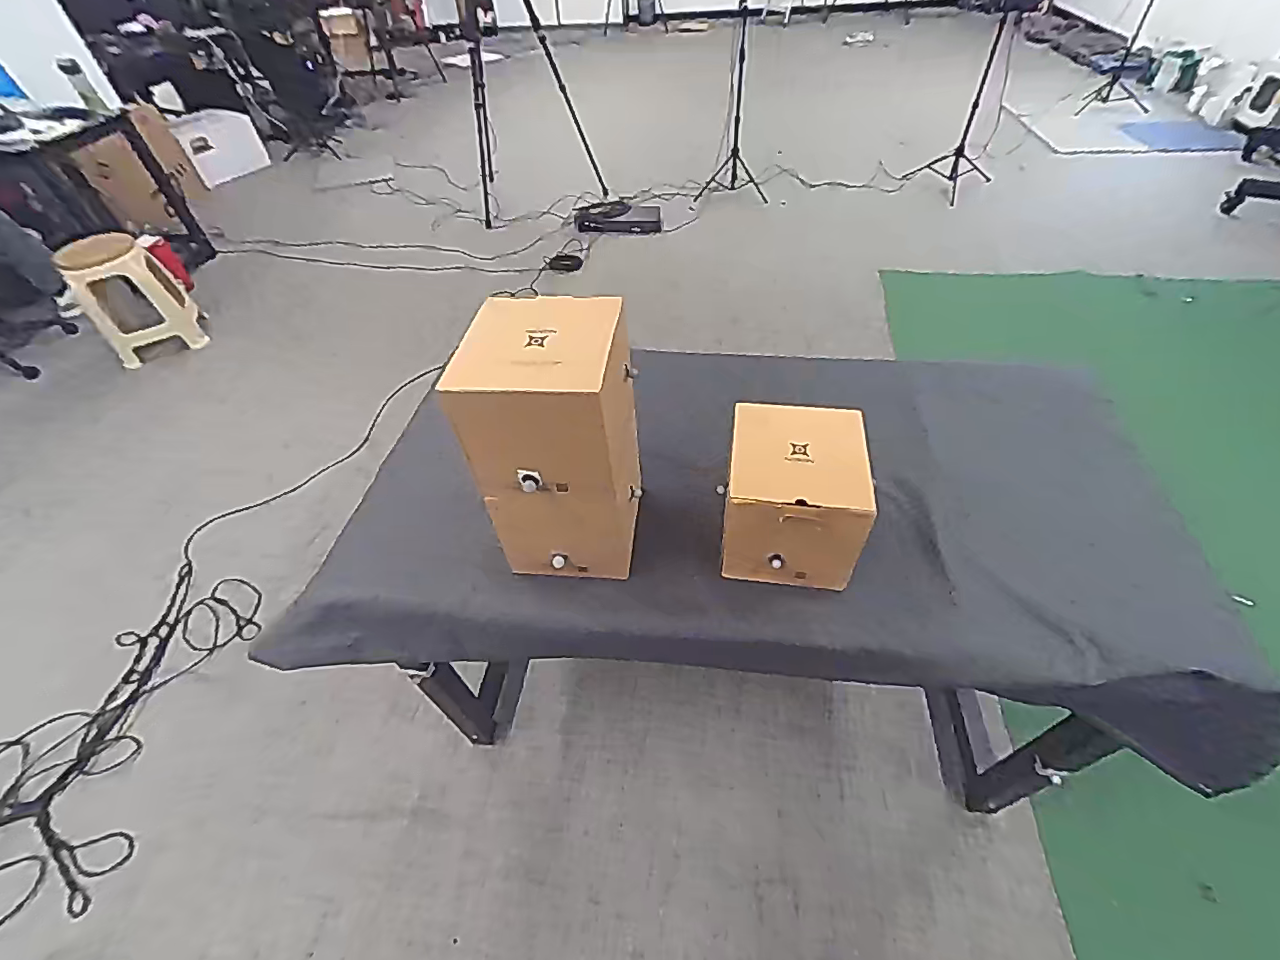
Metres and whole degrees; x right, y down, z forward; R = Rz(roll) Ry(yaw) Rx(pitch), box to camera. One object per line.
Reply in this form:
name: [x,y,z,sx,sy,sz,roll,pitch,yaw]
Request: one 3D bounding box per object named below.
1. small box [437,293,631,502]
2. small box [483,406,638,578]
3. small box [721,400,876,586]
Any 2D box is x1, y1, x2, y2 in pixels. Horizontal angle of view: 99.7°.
small box: [-0.103,-0.096,0.623,0.168,0.176,0.179,1,49,7]
small box: [-0.094,0.012,0.744,0.168,0.176,0.179,2,49,6]
small box: [0.199,0.016,0.723,0.168,0.176,0.179,5,49,8]
